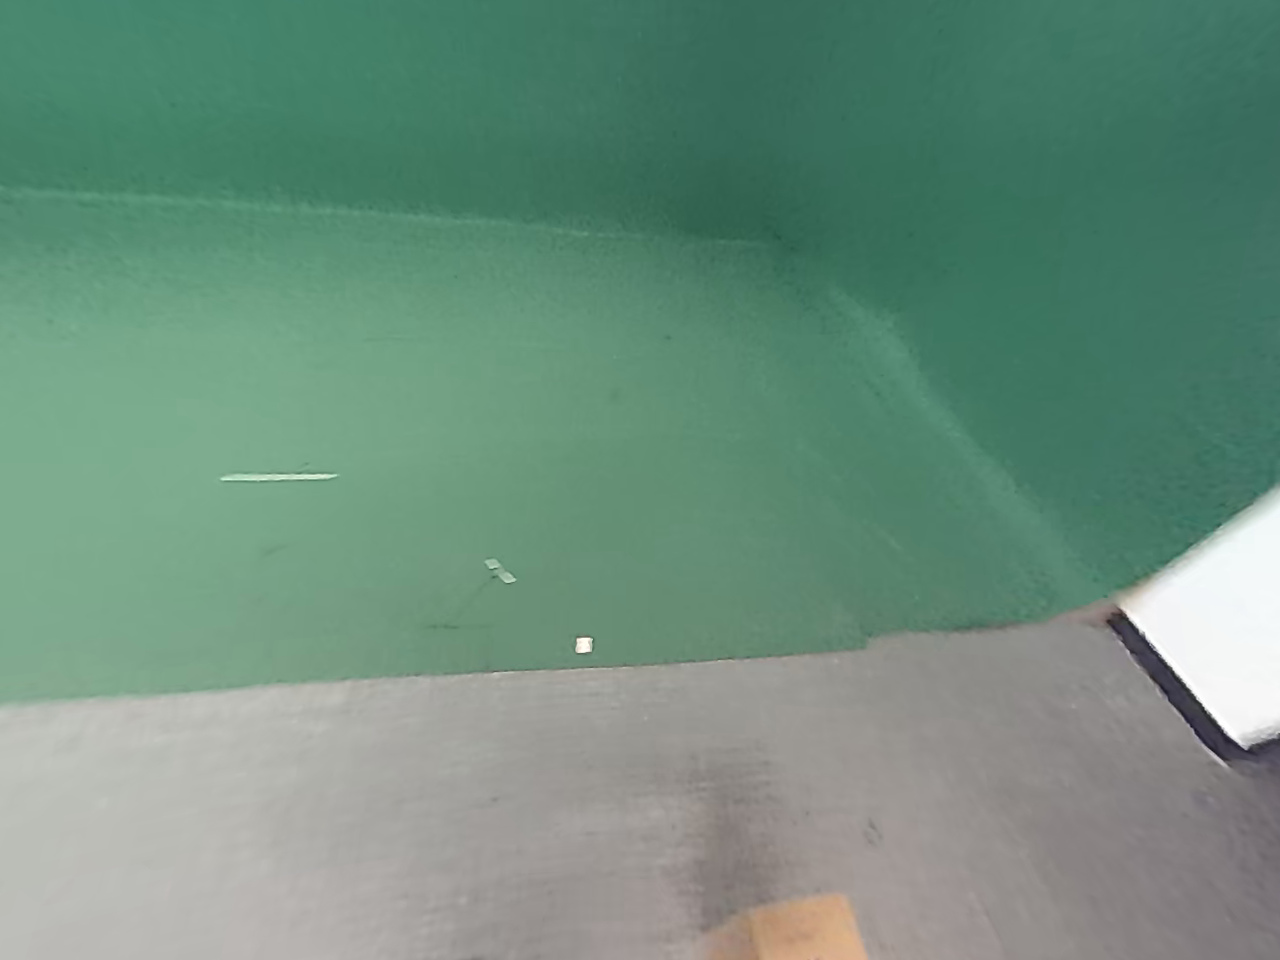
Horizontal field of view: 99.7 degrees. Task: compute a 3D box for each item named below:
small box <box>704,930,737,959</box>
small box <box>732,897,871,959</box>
[{"bbox_3d":[0.234,1.005,1.071,0.168,0.176,0.179,-1,45,-9],"label":"small box"},{"bbox_3d":[0.254,0.776,0.838,0.168,0.176,0.179,0,45,-9],"label":"small box"}]
